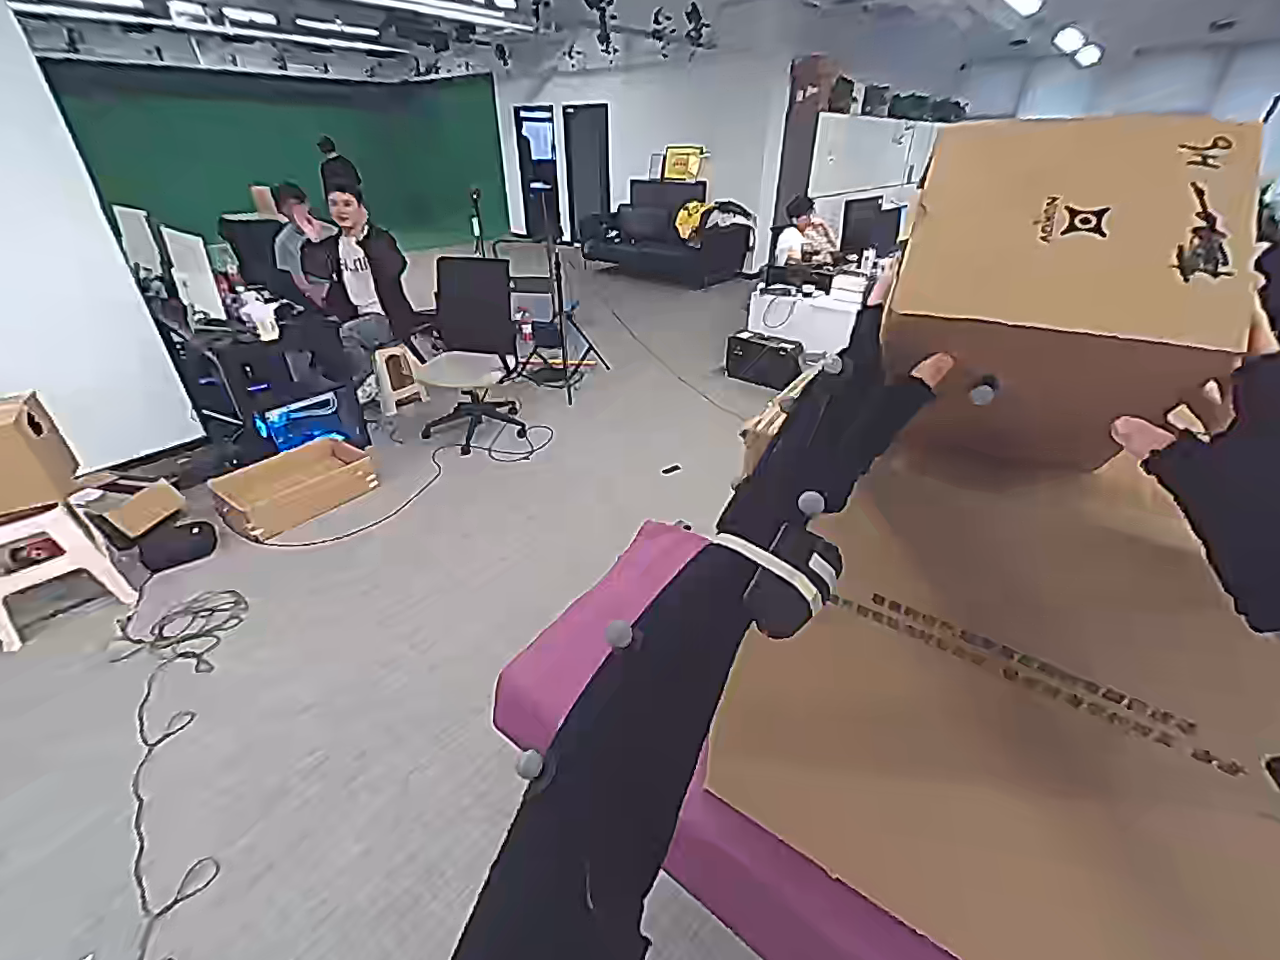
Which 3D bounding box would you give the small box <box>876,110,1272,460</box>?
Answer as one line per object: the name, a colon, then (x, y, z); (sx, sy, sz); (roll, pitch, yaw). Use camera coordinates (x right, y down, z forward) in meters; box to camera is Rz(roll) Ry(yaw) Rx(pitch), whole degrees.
small box: (0.285, -0.131, 0.397); (0.179, 0.176, 0.168); (15, 74, 23)
